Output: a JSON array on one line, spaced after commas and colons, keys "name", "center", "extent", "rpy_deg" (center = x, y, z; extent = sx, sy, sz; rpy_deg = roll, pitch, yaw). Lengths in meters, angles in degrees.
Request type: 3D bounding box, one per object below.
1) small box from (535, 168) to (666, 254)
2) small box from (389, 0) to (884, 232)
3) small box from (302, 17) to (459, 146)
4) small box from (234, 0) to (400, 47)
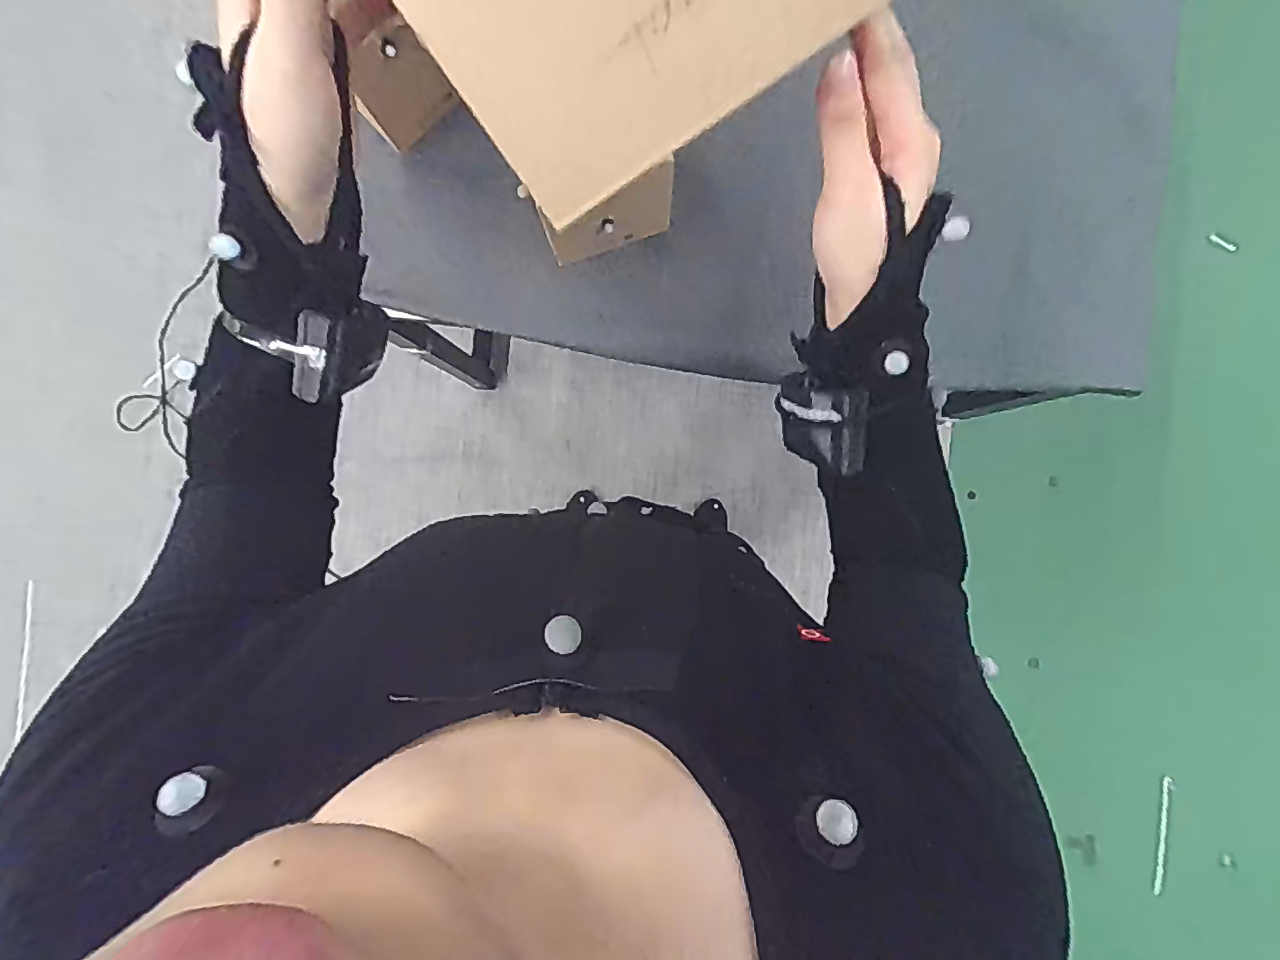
[{"name": "small box", "center": [-0.066, -0.414, 0.689], "extent": [0.168, 0.176, 0.179], "rpy_deg": [-19, 88, 0]}, {"name": "small box", "center": [-0.016, -0.260, 0.247], "extent": [0.168, 0.176, 0.179], "rpy_deg": [-22, 132, 24]}, {"name": "small box", "center": [-0.344, -0.587, 0.698], "extent": [0.168, 0.176, 0.179], "rpy_deg": [-43, 89, 1]}, {"name": "small box", "center": [-0.348, -0.584, 0.533], "extent": [0.179, 0.176, 0.168], "rpy_deg": [-12, 90, 2]}]
